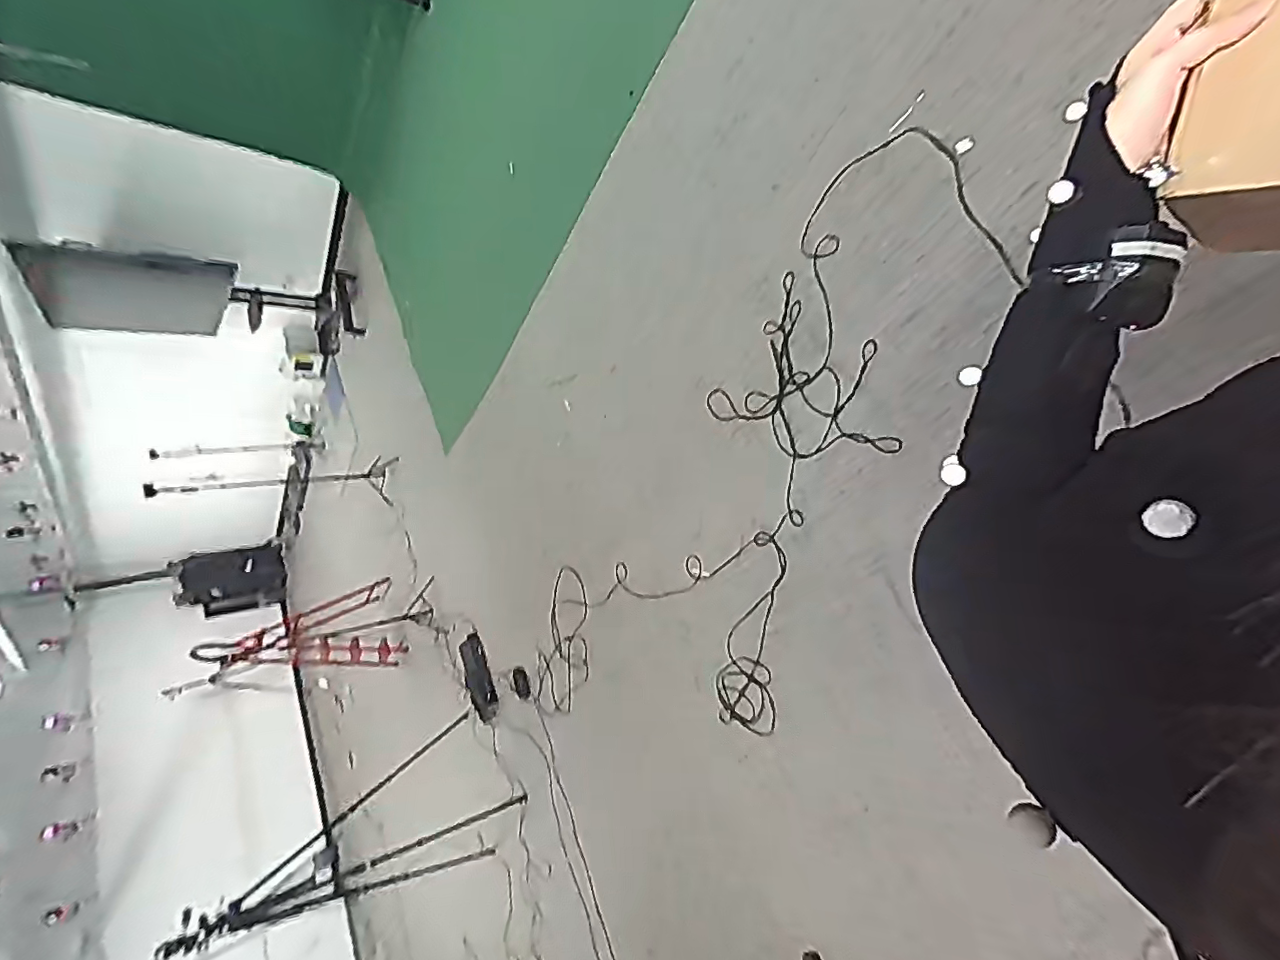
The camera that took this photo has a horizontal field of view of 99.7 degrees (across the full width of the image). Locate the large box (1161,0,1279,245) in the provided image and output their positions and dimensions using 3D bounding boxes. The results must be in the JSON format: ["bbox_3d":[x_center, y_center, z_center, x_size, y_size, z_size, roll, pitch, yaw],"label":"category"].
[{"bbox_3d":[0.632,-0.332,0.303,0.408,0.320,0.320,20,113,49],"label":"large box"}]
